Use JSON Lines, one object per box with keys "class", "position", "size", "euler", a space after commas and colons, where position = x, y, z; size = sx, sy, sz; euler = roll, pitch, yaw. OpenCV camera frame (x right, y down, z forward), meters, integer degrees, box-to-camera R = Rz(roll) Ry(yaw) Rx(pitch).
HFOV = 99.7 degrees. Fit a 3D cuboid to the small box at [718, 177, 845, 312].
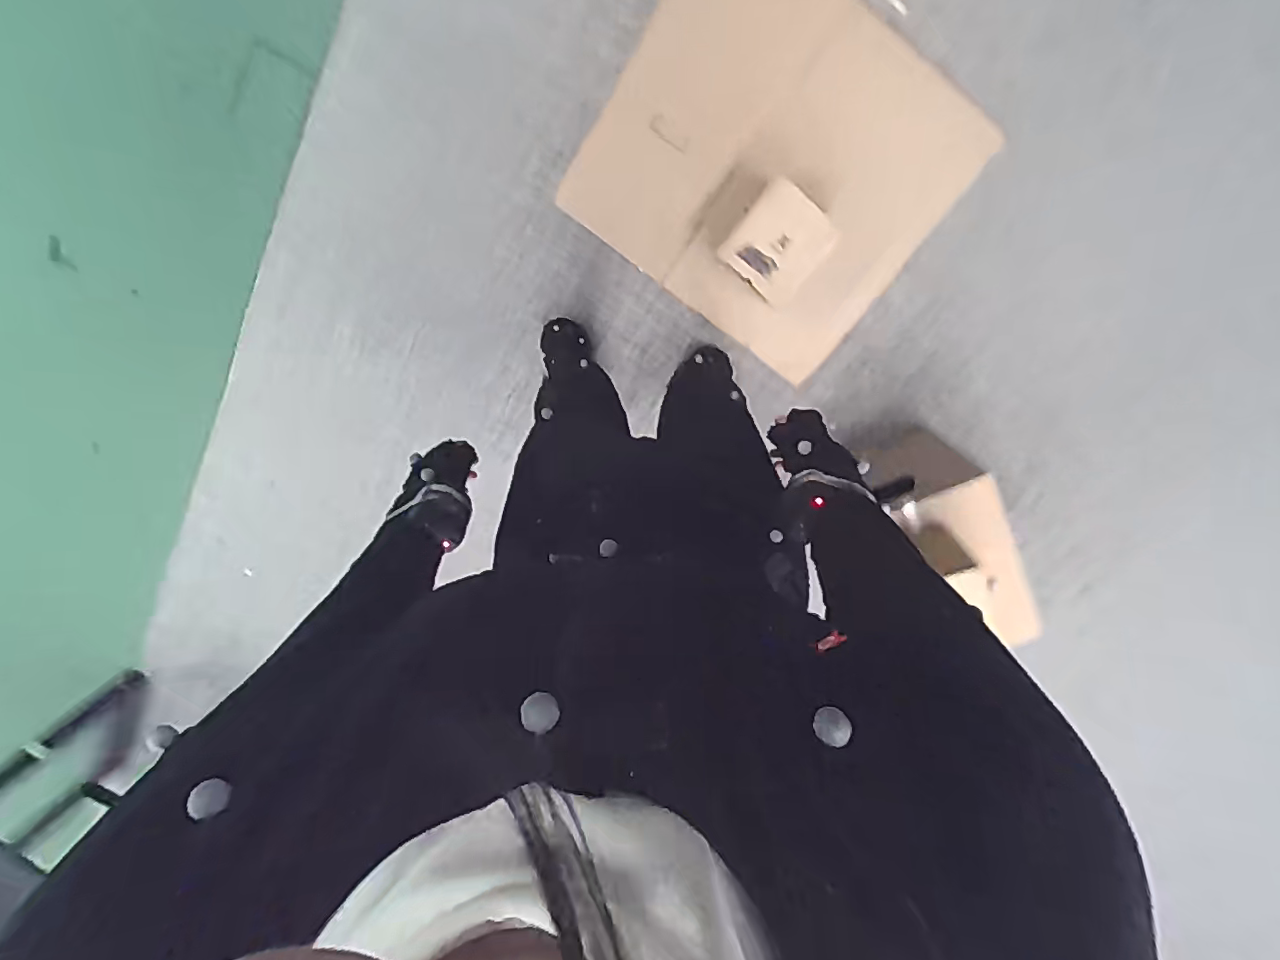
{"class": "small box", "position": [0.274, -0.464, 1.086], "size": [0.168, 0.176, 0.179], "euler": [40, 109, -9]}
